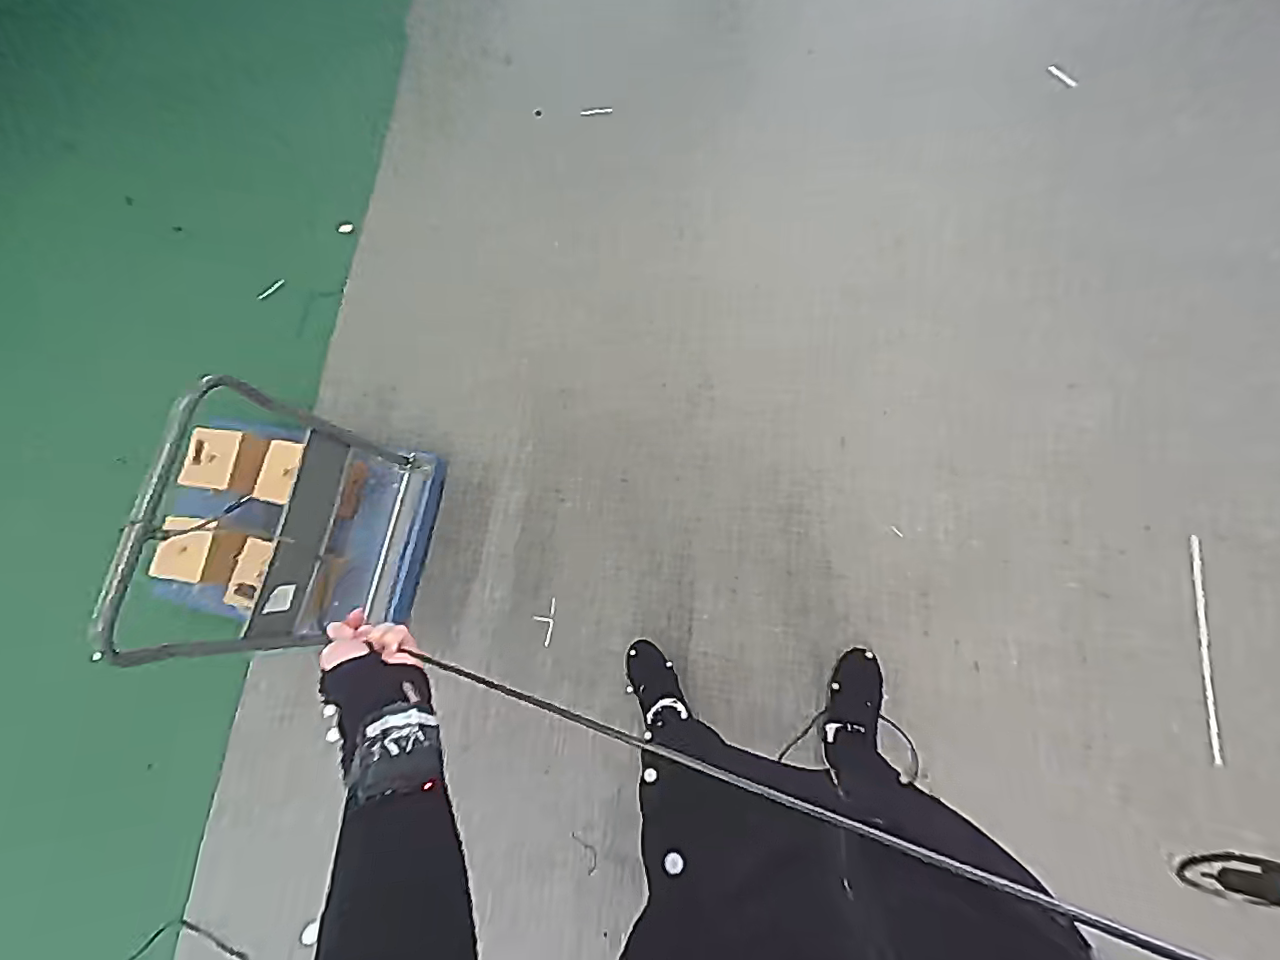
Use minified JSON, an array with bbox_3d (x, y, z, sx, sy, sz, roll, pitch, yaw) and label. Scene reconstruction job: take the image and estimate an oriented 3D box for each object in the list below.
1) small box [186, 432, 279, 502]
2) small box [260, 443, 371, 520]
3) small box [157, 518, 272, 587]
[{"bbox_3d":[-1.160,-0.033,1.584,0.179,0.176,0.168,6,79,14],"label":"small box"},{"bbox_3d":[-0.902,0.009,1.515,0.179,0.176,0.168,11,79,15],"label":"small box"},{"bbox_3d":[-1.196,0.211,1.534,0.179,0.176,0.168,6,77,14],"label":"small box"}]
